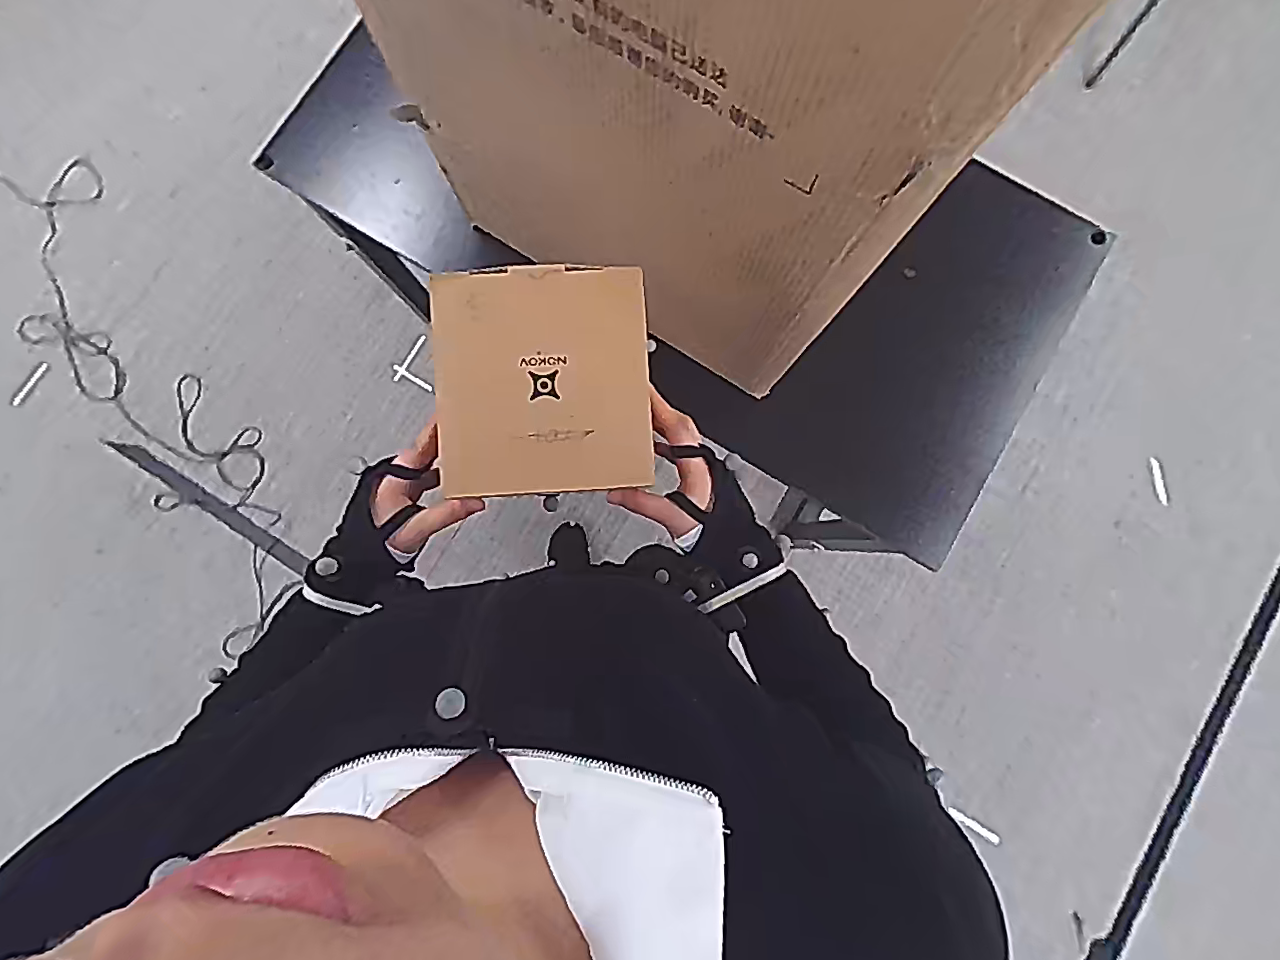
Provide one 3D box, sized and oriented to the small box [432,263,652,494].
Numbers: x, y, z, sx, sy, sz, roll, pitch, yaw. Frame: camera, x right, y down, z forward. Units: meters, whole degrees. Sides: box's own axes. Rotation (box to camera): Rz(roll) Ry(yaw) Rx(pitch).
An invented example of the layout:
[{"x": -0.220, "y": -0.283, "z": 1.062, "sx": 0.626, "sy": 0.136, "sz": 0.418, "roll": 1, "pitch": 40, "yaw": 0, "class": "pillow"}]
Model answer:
[{"x": -0.080, "y": -0.078, "z": 0.493, "sx": 0.168, "sy": 0.176, "sz": 0.179, "roll": -2, "pitch": 89, "yaw": -4, "class": "small box"}]
